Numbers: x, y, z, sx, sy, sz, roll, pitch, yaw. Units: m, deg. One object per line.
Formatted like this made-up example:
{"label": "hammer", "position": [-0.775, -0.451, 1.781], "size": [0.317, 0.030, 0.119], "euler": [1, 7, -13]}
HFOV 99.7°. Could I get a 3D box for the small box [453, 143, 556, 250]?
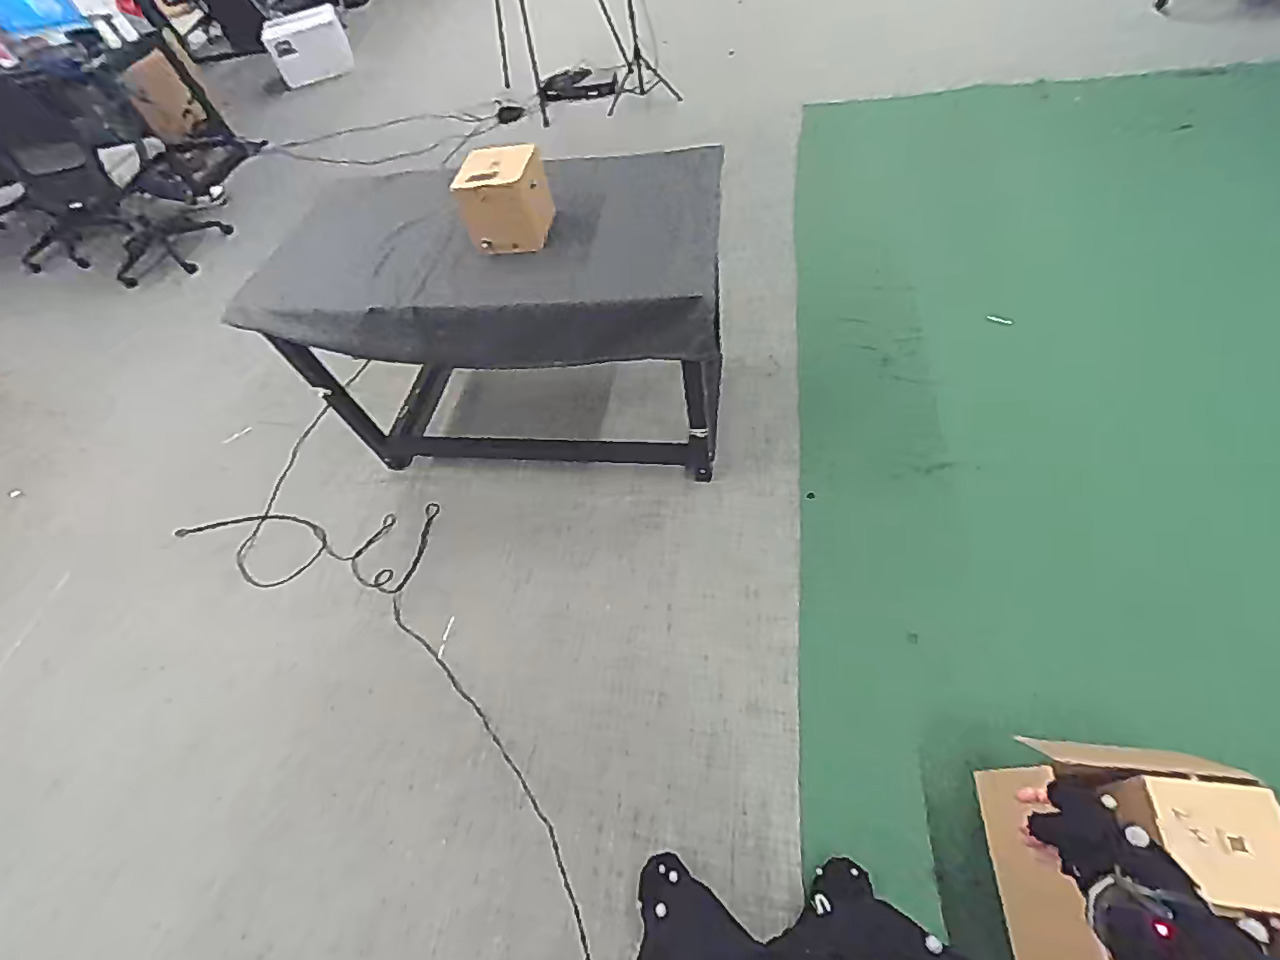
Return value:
{"label": "small box", "position": [-0.315, -0.673, 1.300], "size": [0.168, 0.176, 0.179], "euler": [1, 56, 12]}
